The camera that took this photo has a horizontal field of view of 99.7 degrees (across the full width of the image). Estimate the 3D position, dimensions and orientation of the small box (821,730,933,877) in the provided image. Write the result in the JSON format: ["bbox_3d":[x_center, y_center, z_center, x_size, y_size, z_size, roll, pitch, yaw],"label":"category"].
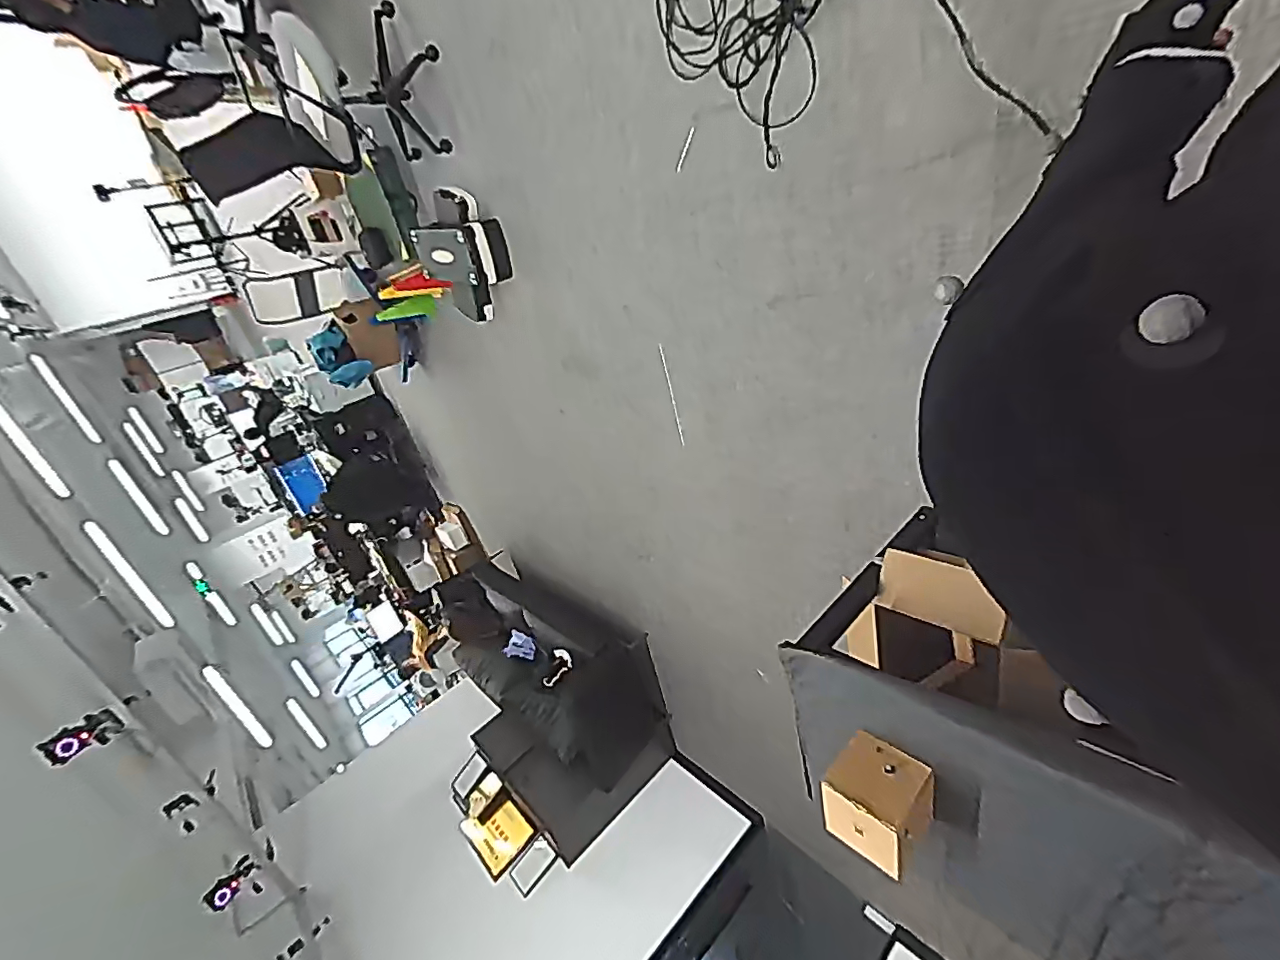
[{"bbox_3d":[0.518,0.694,1.176,0.168,0.176,0.179,16,129,47],"label":"small box"}]
